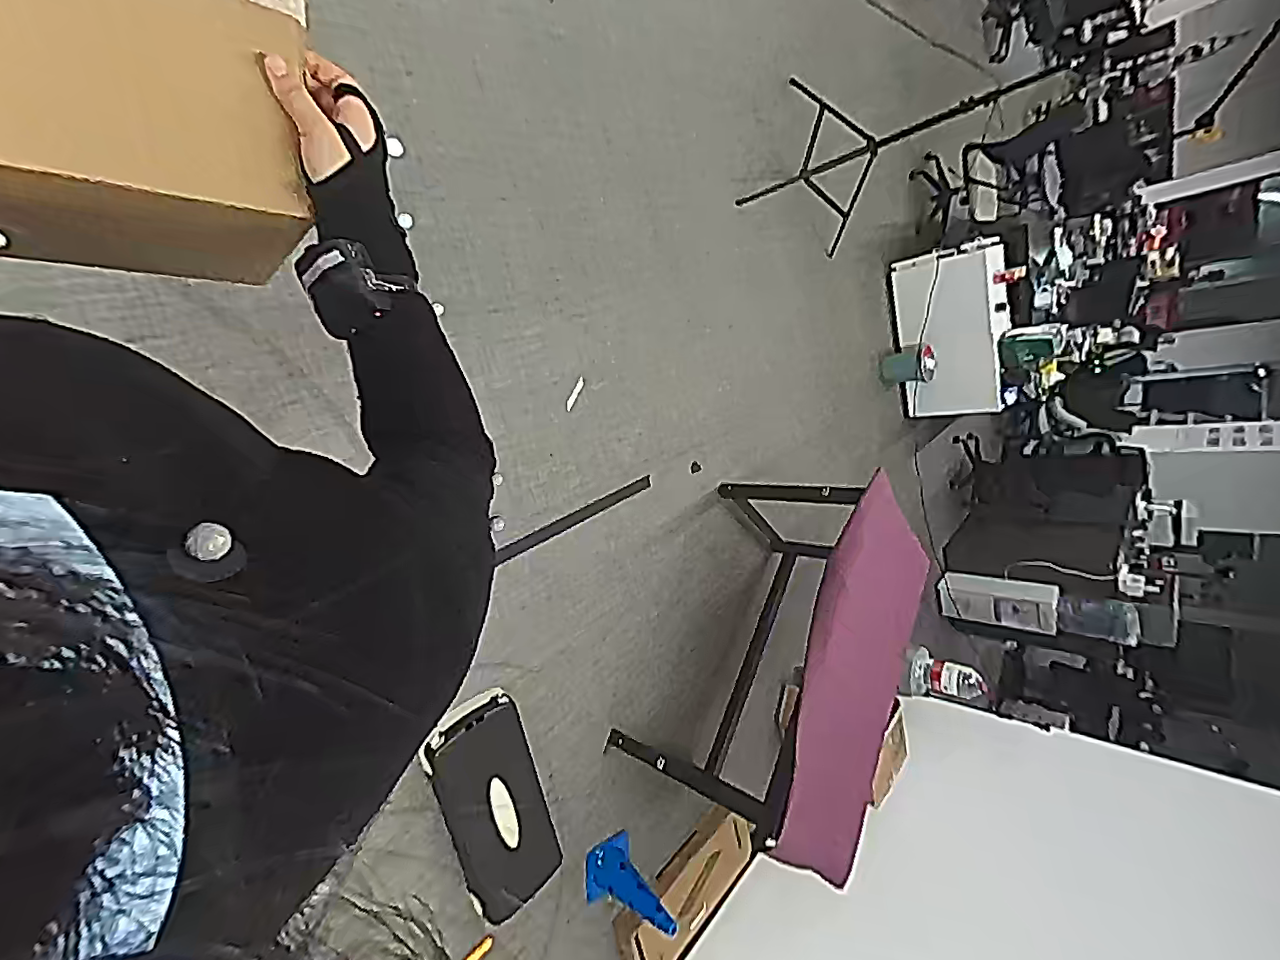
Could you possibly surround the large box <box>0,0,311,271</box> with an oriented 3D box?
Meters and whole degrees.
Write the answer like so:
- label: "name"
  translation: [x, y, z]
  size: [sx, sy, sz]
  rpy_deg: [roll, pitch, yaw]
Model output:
- label: "large box"
  translation: [-0.522, -0.365, 0.412]
  size: [0.408, 0.320, 0.320]
  rpy_deg: [-8, 100, -40]
